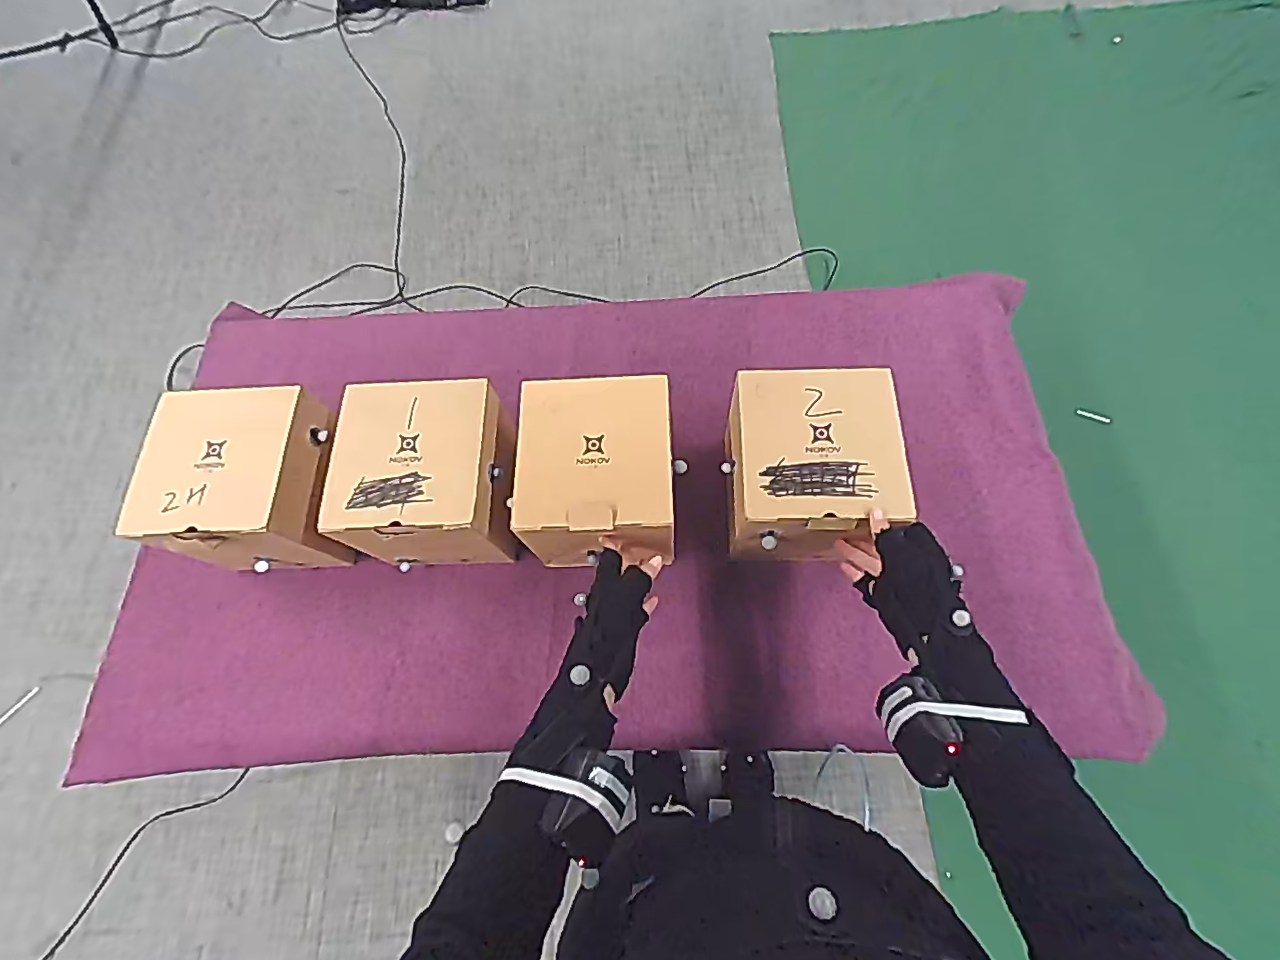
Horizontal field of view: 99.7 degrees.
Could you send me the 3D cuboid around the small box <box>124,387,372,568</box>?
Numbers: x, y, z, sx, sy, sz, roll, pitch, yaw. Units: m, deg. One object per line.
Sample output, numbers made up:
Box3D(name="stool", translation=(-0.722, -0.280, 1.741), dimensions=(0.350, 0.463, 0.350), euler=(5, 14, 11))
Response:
Box3D(name="small box", translation=(-0.461, 0.004, 0.672), dimensions=(0.168, 0.176, 0.179), euler=(-2, 69, 3))
